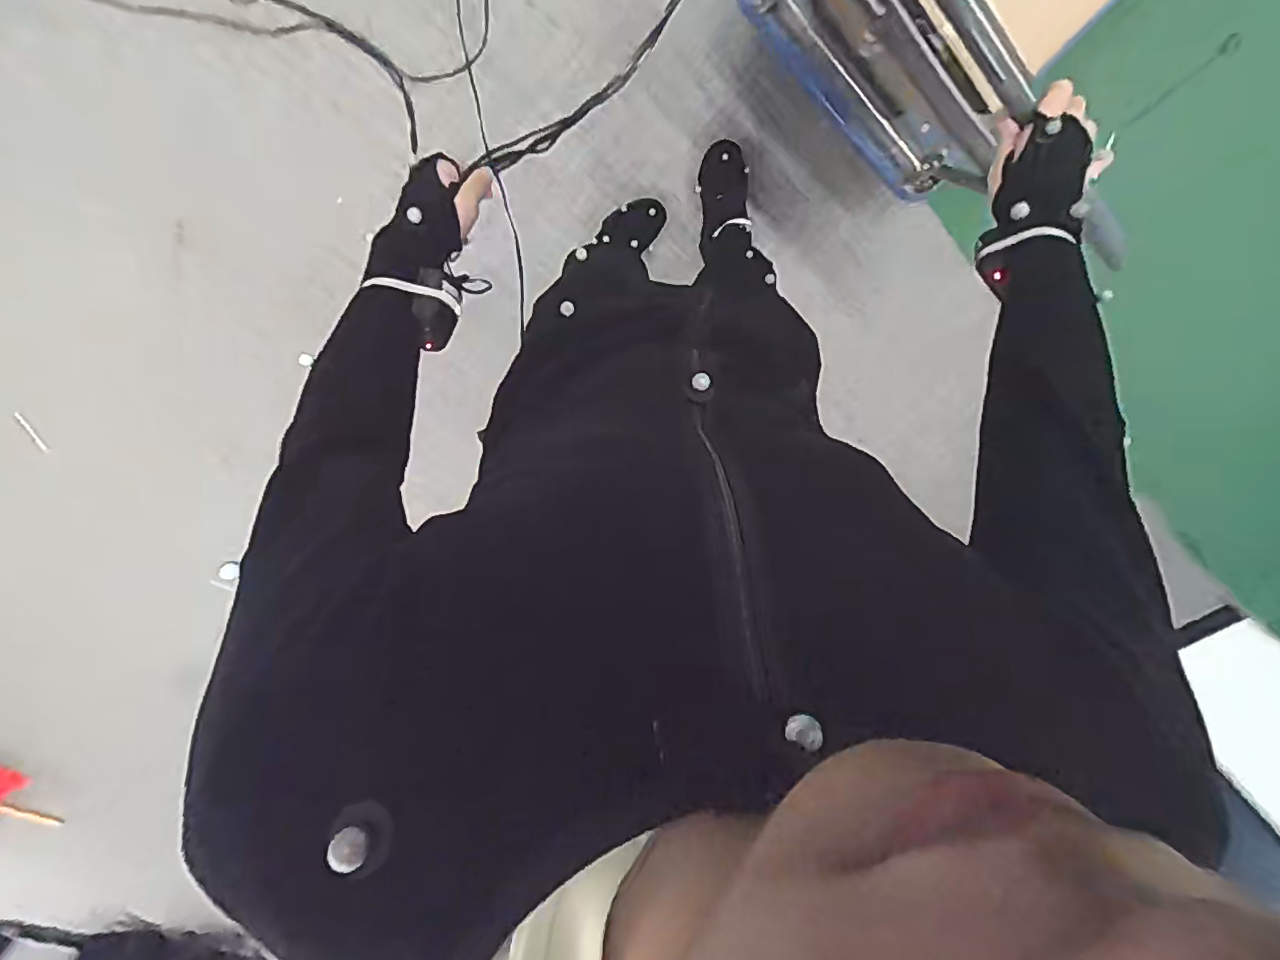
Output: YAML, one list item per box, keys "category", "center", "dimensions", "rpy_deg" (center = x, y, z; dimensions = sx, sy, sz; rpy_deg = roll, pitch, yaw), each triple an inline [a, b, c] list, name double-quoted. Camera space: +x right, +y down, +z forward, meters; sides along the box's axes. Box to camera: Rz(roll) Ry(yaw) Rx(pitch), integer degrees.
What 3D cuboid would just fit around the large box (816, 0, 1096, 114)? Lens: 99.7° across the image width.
- category: "large box"
  center: [0.560, -0.877, 0.854]
  dimensions: [0.320, 0.320, 0.408]
  rpy_deg: [34, 116, -23]
